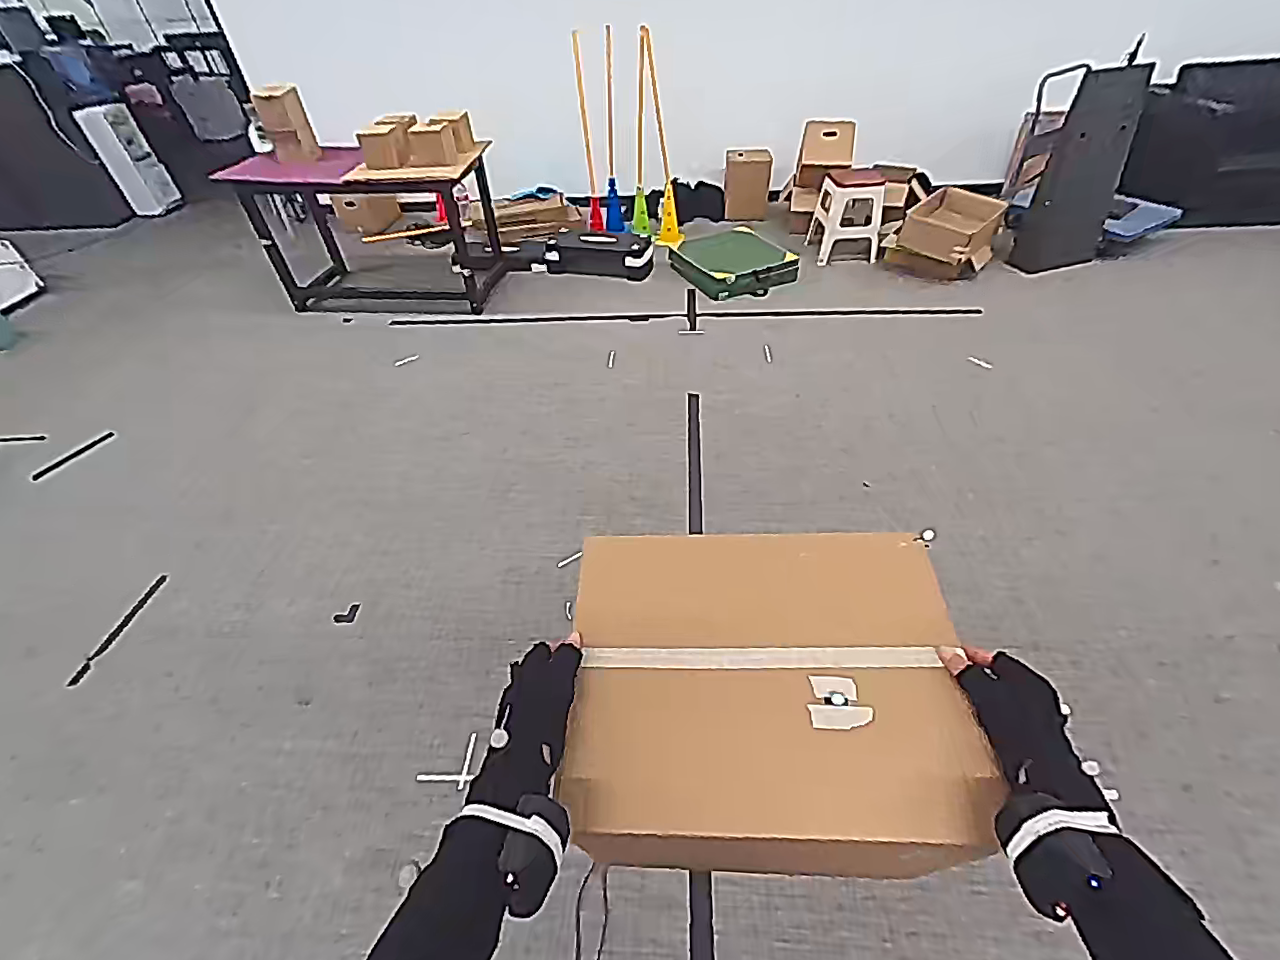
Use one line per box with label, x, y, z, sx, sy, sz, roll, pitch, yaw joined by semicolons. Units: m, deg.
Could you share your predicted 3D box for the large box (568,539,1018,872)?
large box;0.143;0.291;0.685;0.408;0.320;0.320;-1;50;4
